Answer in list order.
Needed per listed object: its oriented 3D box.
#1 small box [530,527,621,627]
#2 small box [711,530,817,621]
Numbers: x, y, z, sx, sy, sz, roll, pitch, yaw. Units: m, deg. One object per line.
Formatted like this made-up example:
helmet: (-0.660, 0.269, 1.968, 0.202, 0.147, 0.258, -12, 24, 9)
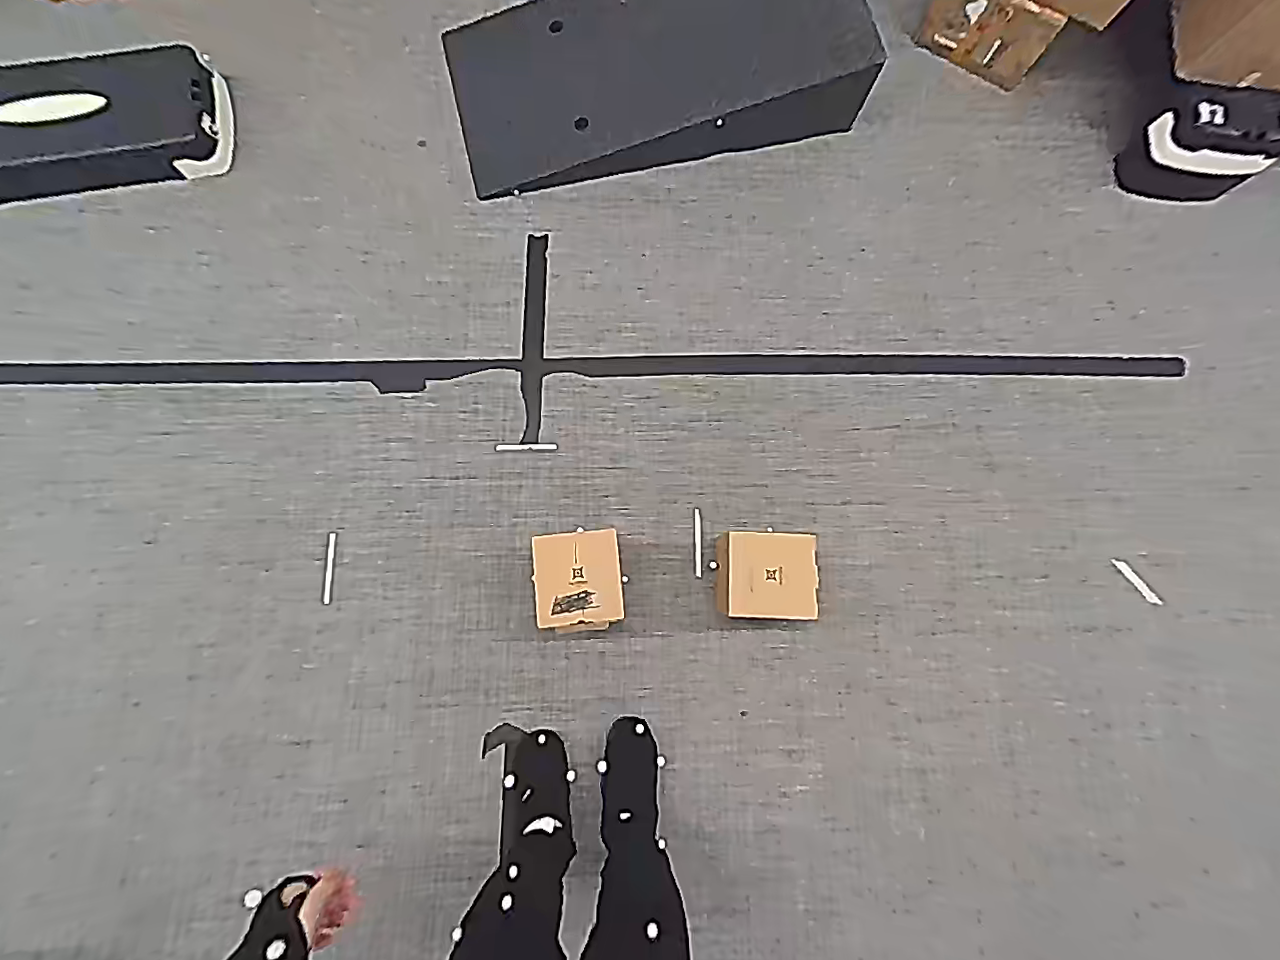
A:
small box: (-0.125, 0.195, 1.096, 0.168, 0.176, 0.179, -5, 80, -4)
small box: (0.250, 0.196, 1.115, 0.179, 0.176, 0.168, 3, 80, -2)
